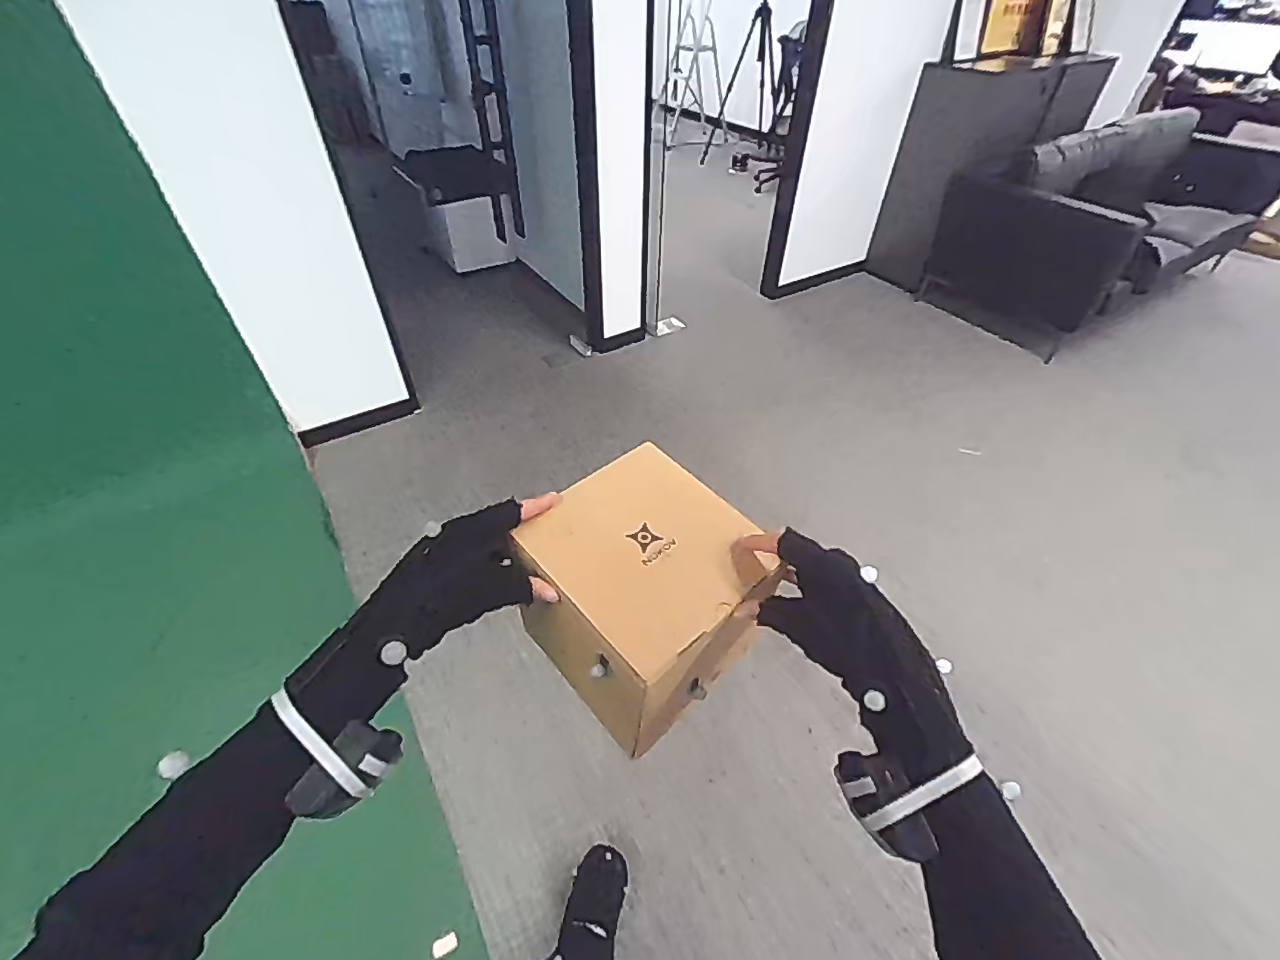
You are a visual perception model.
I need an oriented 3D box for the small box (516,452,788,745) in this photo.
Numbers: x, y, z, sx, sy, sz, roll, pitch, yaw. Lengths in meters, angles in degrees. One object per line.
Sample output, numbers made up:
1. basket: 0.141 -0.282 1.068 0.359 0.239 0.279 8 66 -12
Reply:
1. small box: 0.003 0.110 0.512 0.168 0.176 0.179 -31 57 -29
